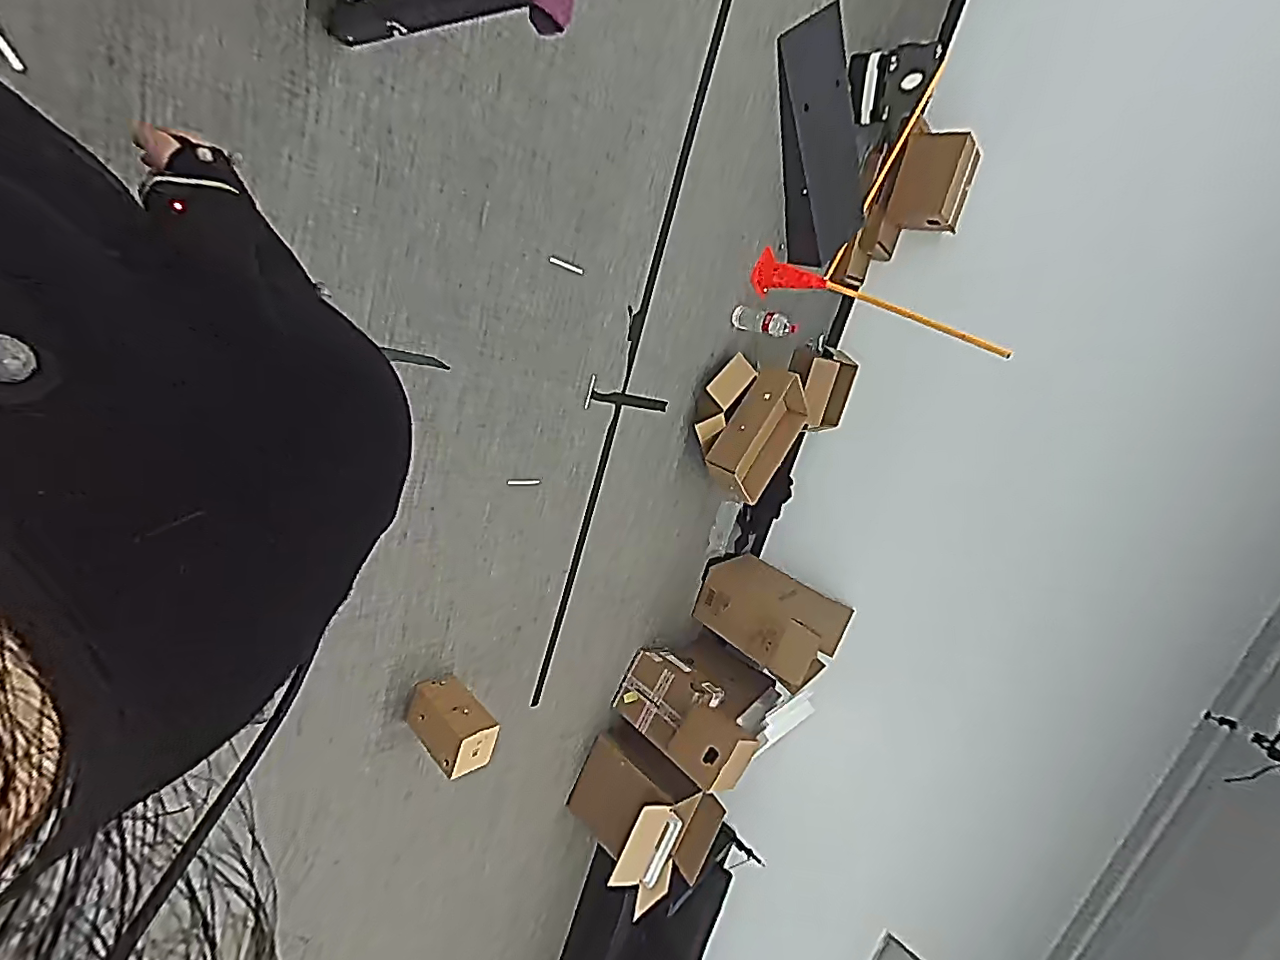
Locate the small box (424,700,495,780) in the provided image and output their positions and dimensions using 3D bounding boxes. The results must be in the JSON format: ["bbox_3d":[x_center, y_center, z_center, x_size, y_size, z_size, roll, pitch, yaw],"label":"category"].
[{"bbox_3d":[-0.668,0.949,1.989,0.168,0.176,0.179,4,108,-54],"label":"small box"}]
